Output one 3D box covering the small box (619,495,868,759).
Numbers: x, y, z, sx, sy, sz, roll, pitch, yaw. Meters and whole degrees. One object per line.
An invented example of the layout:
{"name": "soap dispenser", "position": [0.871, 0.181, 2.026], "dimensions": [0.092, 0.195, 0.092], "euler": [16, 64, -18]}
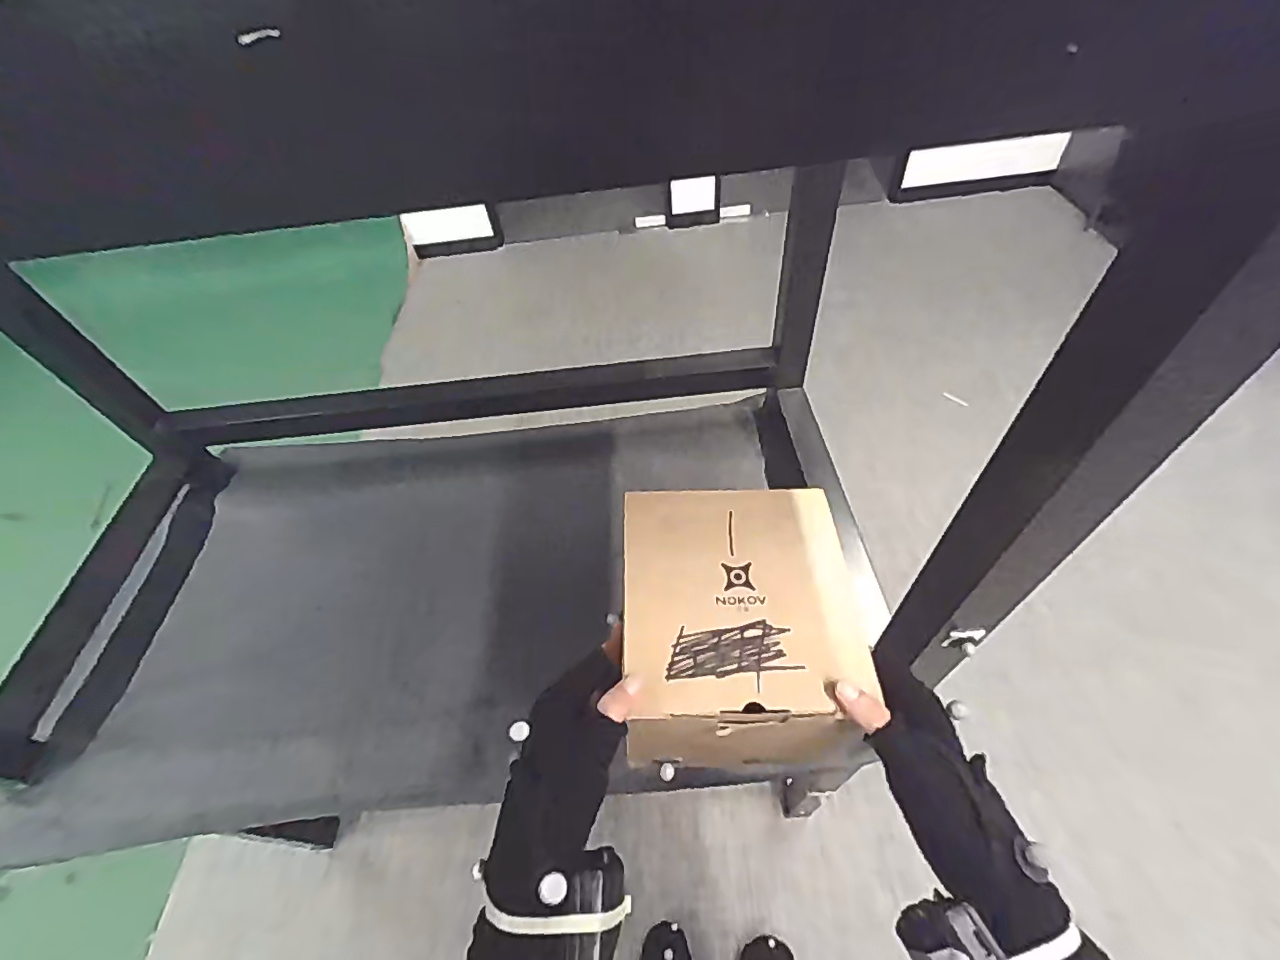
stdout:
{"name": "small box", "position": [0.069, 0.131, 0.465], "dimensions": [0.168, 0.176, 0.179], "euler": [0, 51, 0]}
